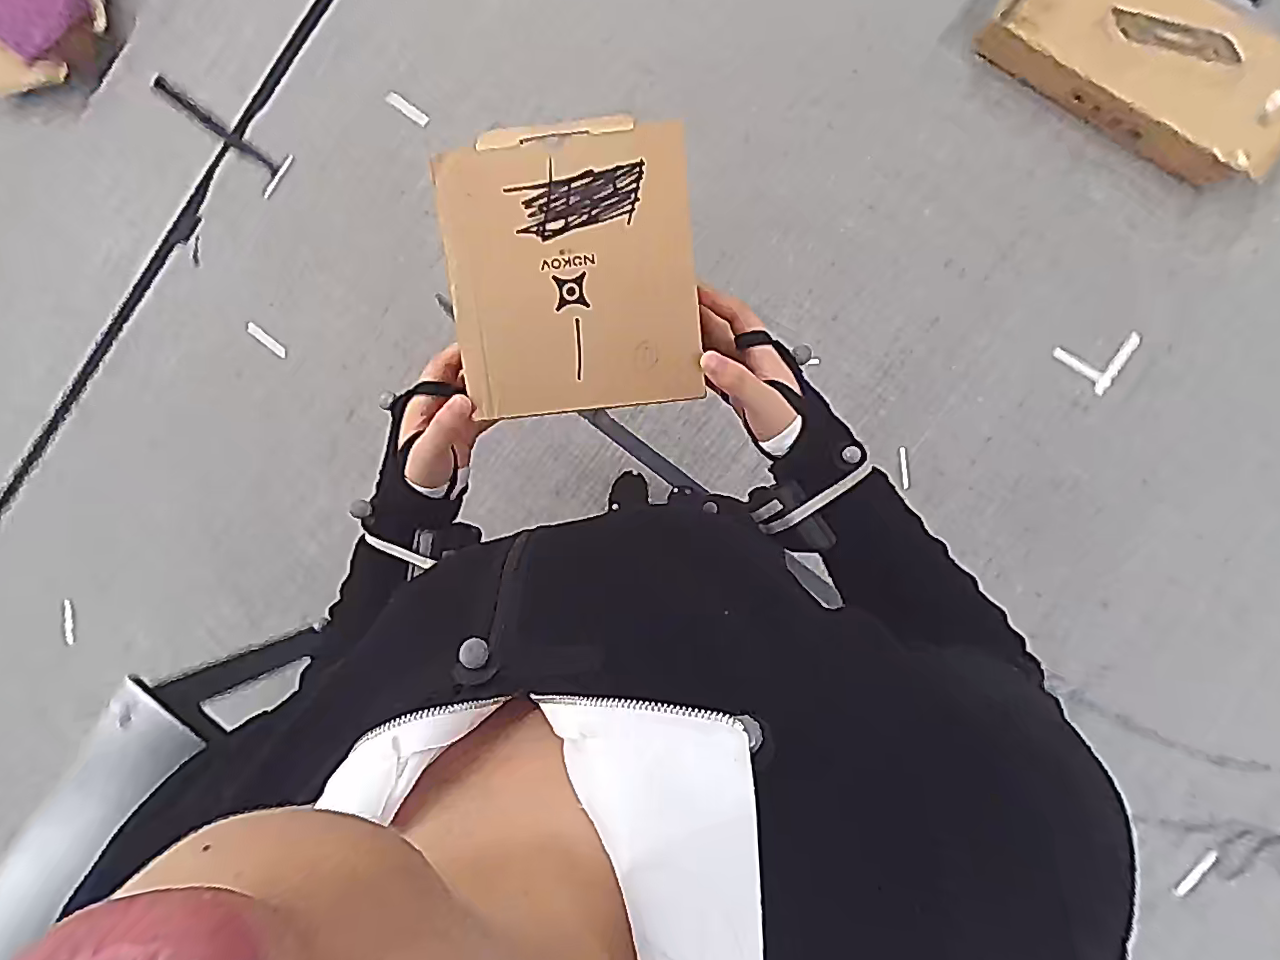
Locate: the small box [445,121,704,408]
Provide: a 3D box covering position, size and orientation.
[{"bbox_3d":[-0.038,-0.152,0.440,0.168,0.176,0.179,-4,99,4],"label":"small box"}]
